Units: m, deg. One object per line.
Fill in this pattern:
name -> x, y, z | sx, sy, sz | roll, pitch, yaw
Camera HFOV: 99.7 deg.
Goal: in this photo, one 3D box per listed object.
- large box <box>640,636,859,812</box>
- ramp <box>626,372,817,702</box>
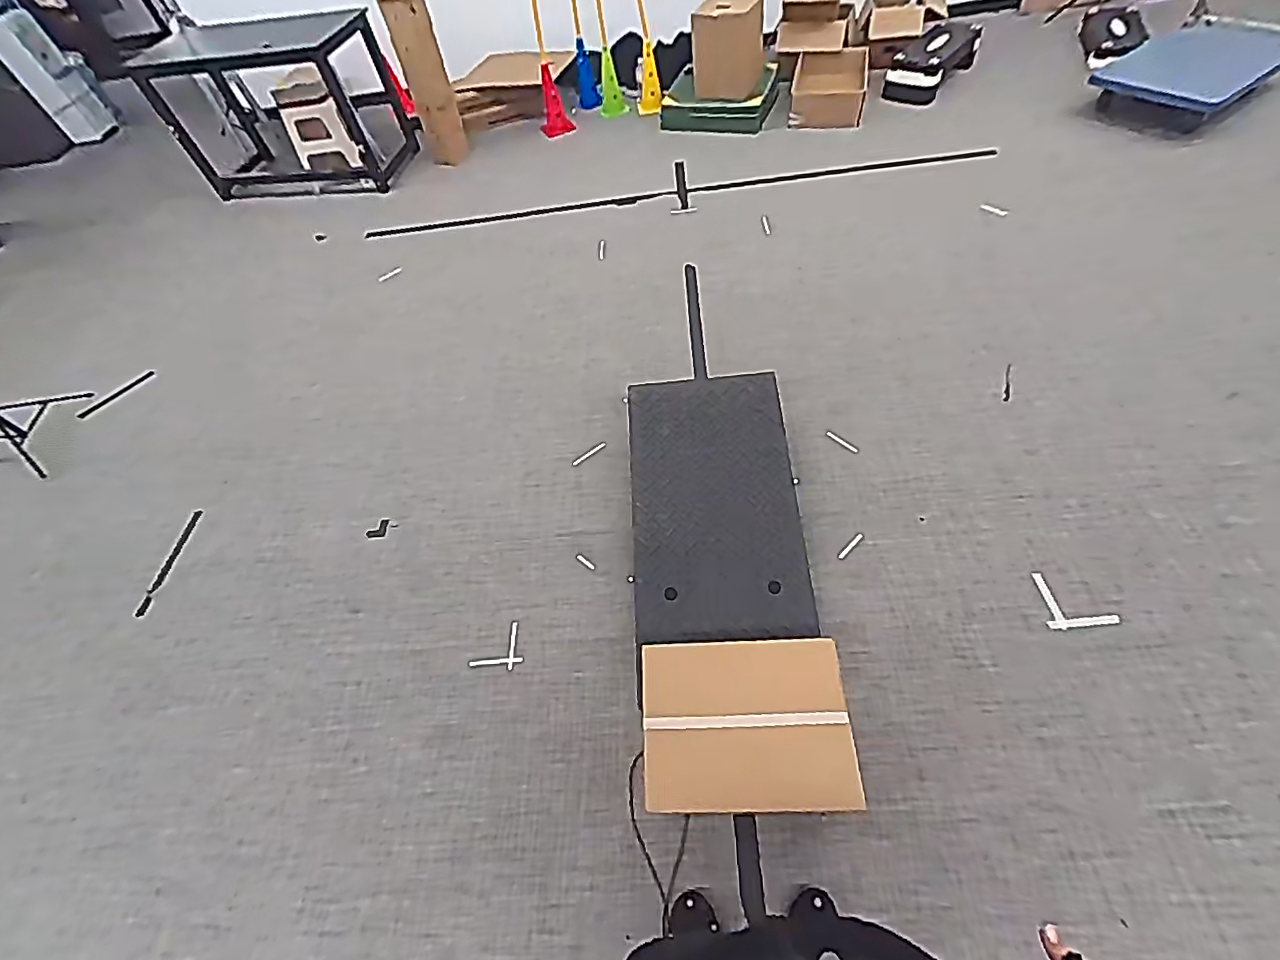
large box -> 0.219, 0.552, 1.207 | 0.408, 0.320, 0.320 | -4, 58, 5
ramp -> 0.214, 0.112, 1.600 | 0.509, 0.206, 0.991 | -5, 55, 2
